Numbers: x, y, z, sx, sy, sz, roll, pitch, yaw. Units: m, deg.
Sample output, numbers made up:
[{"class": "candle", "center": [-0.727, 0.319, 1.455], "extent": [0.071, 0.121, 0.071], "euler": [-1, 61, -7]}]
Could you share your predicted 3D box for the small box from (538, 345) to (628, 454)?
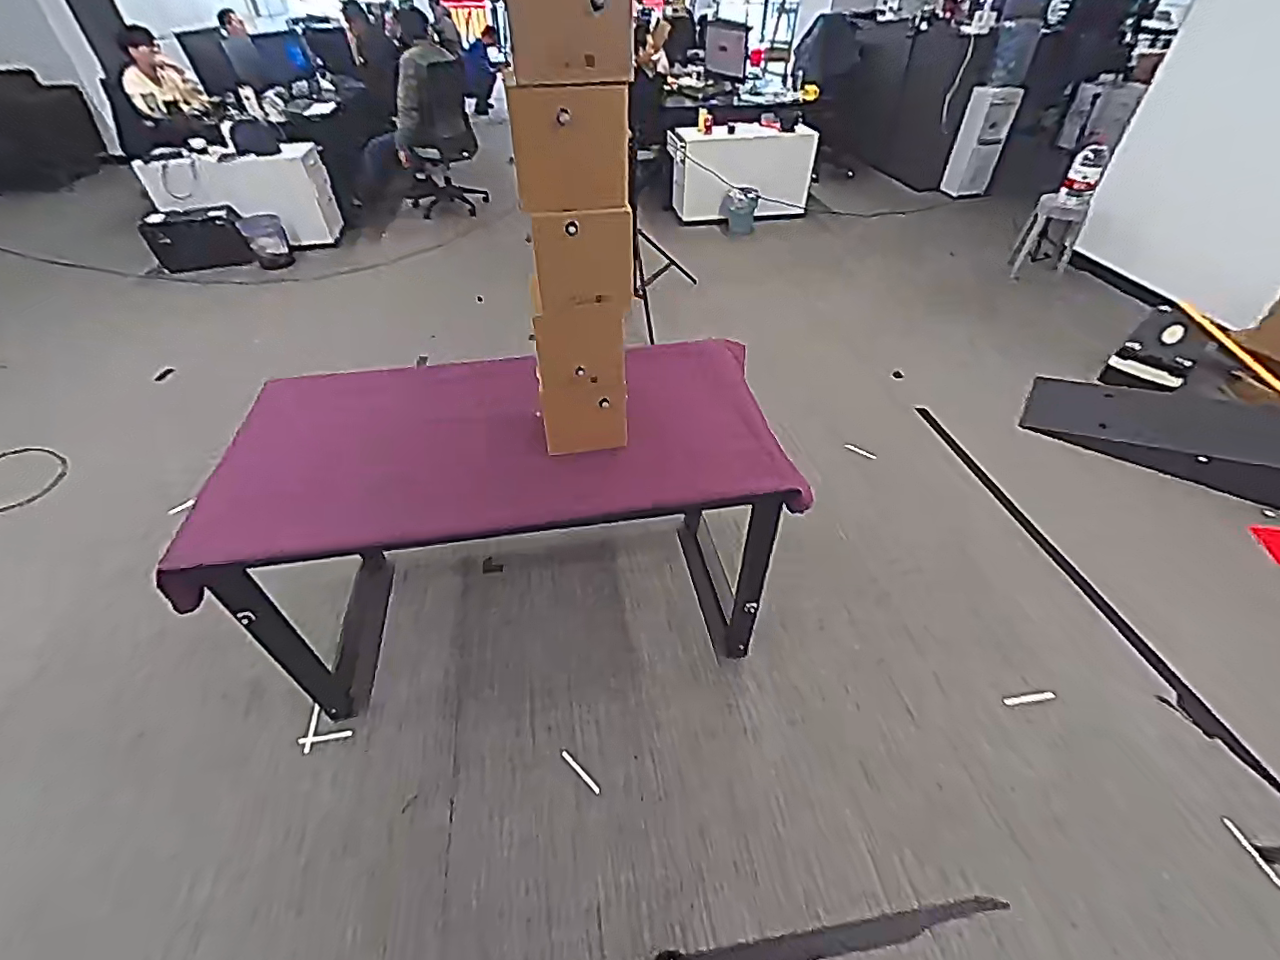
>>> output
[{"class": "small box", "center": [-0.124, -0.176, 1.193], "extent": [0.179, 0.176, 0.168], "euler": [-8, 43, -7]}]

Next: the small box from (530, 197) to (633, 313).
[{"class": "small box", "center": [-0.108, -0.417, 0.972], "extent": [0.168, 0.176, 0.179], "euler": [-8, 43, -8]}]

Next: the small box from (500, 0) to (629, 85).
[{"class": "small box", "center": [-0.110, -0.664, 0.760], "extent": [0.168, 0.176, 0.179], "euler": [-8, 43, -10]}]

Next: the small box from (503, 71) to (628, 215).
[{"class": "small box", "center": [-0.118, -0.543, 0.868], "extent": [0.179, 0.176, 0.168], "euler": [-8, 44, -8]}]
